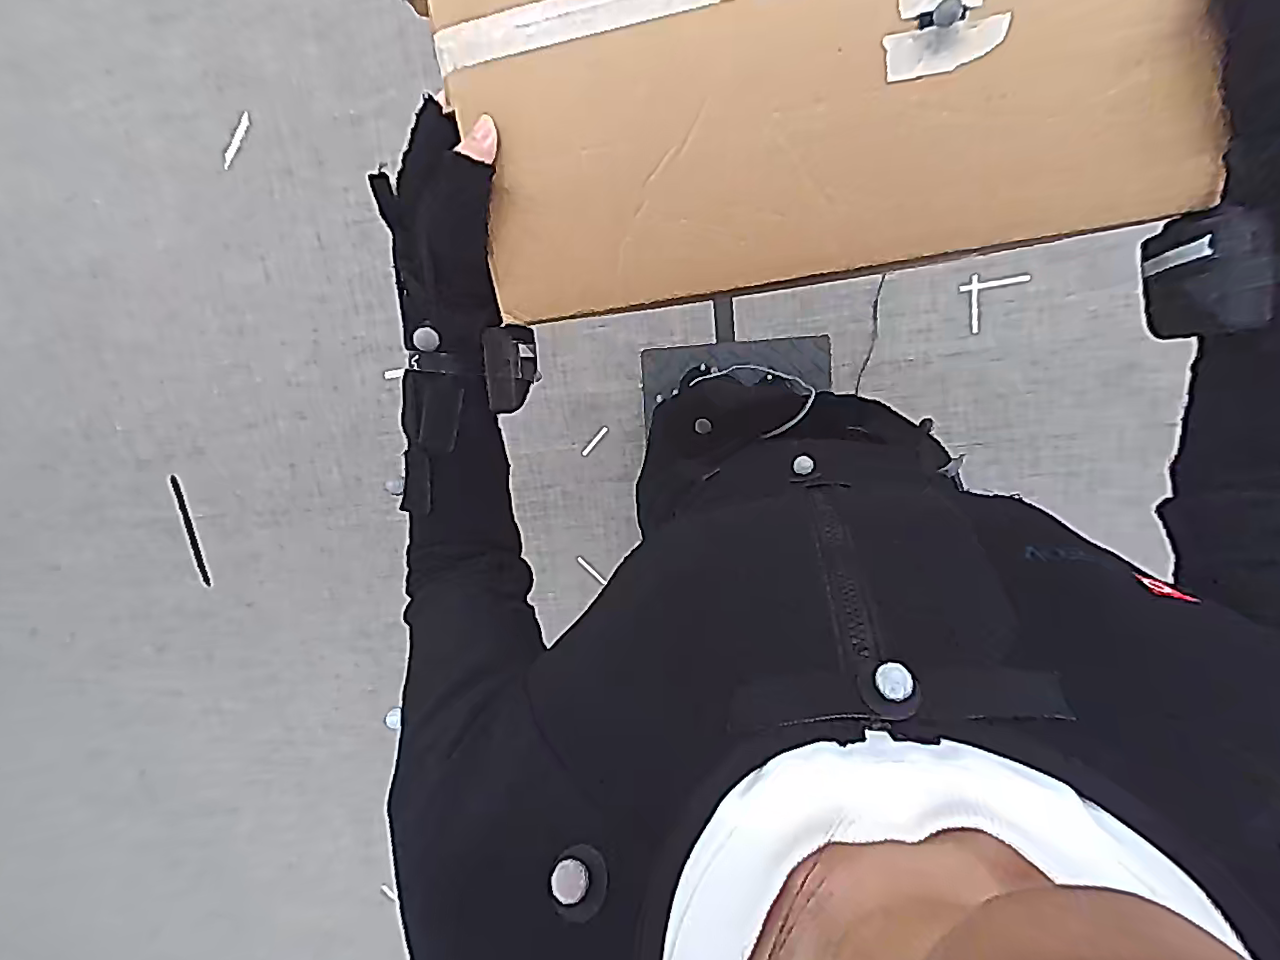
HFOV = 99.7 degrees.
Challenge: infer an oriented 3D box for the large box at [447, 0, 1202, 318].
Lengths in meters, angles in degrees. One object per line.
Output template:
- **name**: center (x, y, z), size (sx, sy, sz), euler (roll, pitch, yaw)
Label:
- **large box**: center (0.102, -0.325, 0.436), size (0.408, 0.320, 0.320), euler (-7, 107, 10)

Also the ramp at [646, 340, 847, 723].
- **ramp**: center (0.275, 0.146, 1.444), size (0.509, 0.206, 0.991), euler (-4, 101, 12)
